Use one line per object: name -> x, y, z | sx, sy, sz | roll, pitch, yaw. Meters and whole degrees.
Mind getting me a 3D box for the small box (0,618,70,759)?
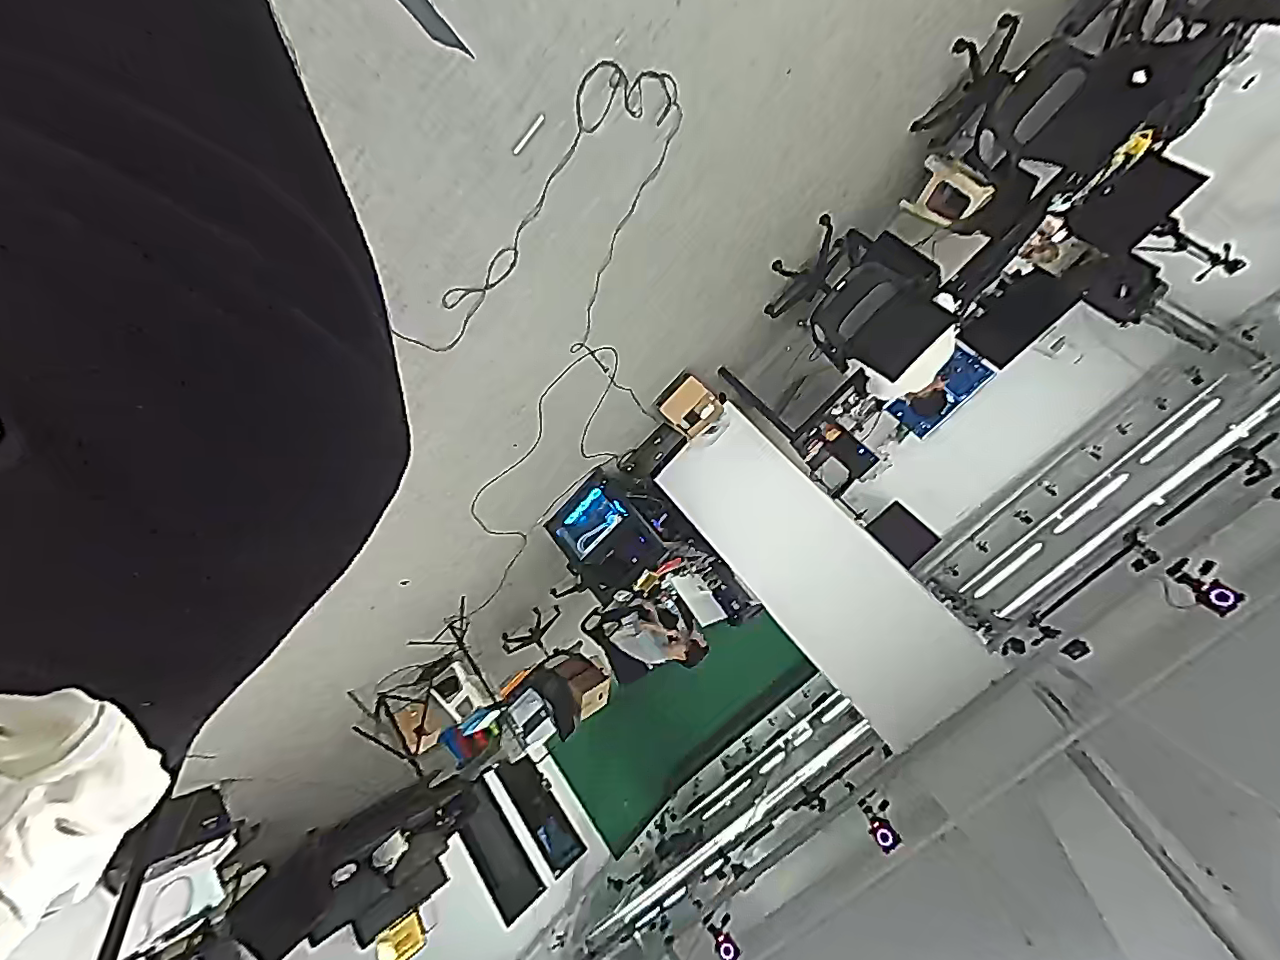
small box -> -1.065, 0.330, 0.845 | 0.179, 0.176, 0.168 | -44, 158, 7
